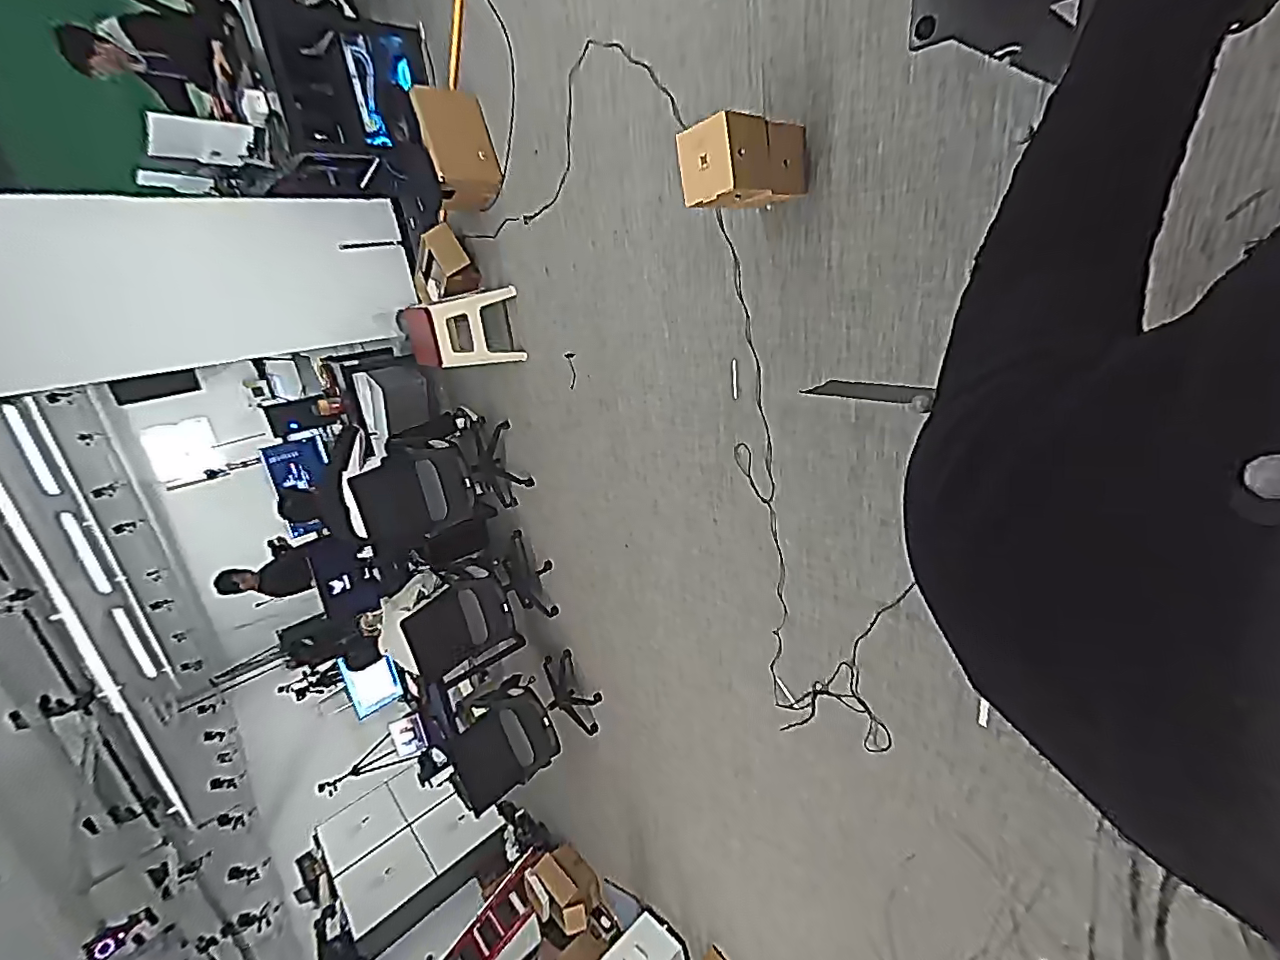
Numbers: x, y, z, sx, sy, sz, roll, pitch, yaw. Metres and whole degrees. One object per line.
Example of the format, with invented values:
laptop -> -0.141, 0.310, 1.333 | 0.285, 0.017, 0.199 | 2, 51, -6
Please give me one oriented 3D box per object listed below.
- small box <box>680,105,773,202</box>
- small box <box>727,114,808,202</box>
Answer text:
small box -> 0.228, -0.836, 1.399 | 0.168, 0.176, 0.179 | 8, 113, 48
small box -> 0.350, -0.881, 1.497 | 0.168, 0.176, 0.179 | 13, 119, 48
